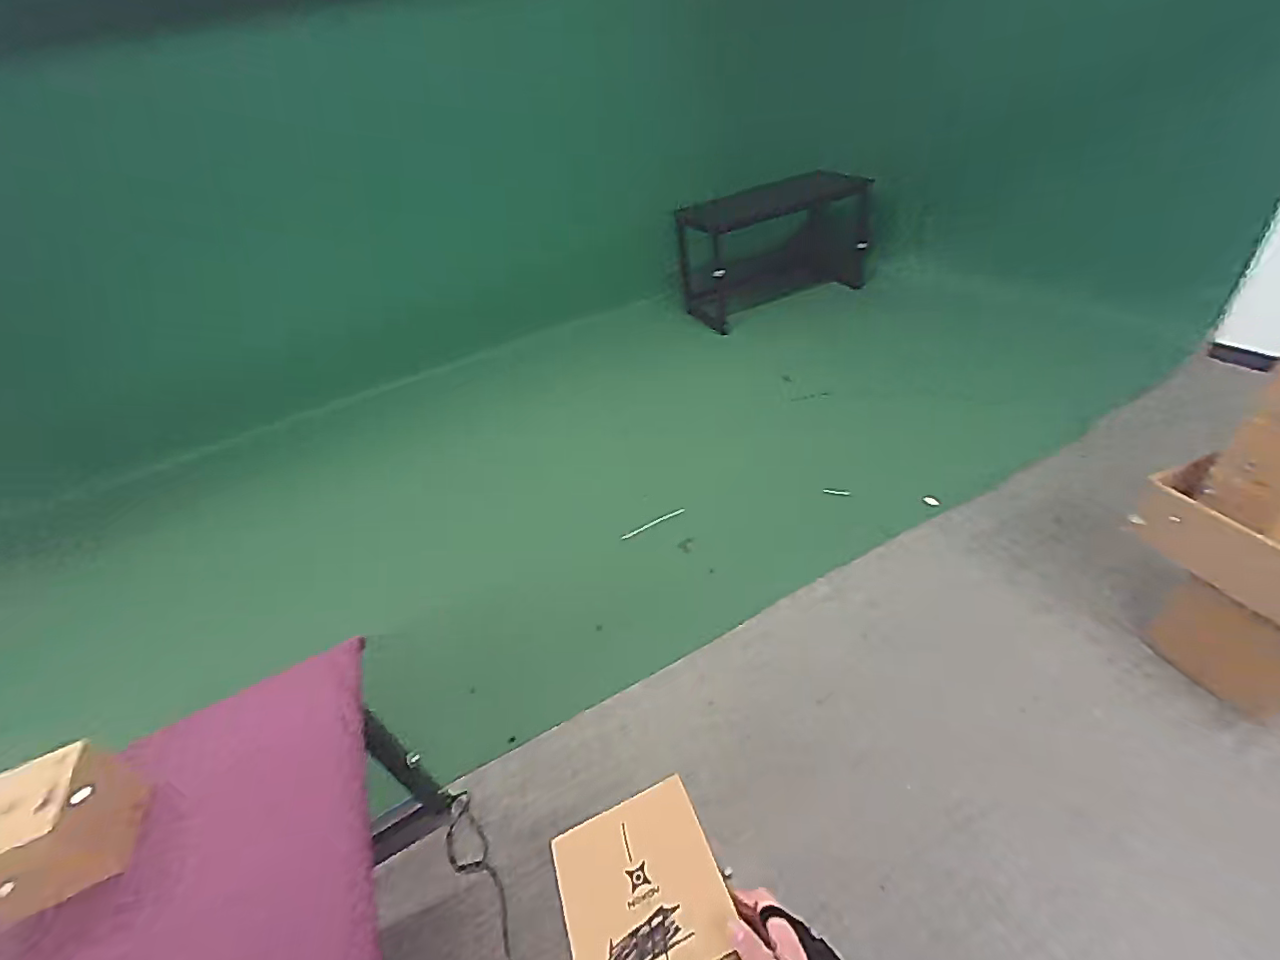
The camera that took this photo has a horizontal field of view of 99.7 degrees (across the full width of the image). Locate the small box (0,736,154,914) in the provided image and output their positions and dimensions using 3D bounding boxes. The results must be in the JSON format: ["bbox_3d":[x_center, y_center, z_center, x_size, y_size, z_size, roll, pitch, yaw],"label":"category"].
[{"bbox_3d":[-0.988,0.580,0.908,0.179,0.176,0.168,-23,41,-14],"label":"small box"}]

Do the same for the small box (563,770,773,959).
[{"bbox_3d":[0.033,0.476,0.605,0.168,0.176,0.179,-23,34,-7],"label":"small box"}]
